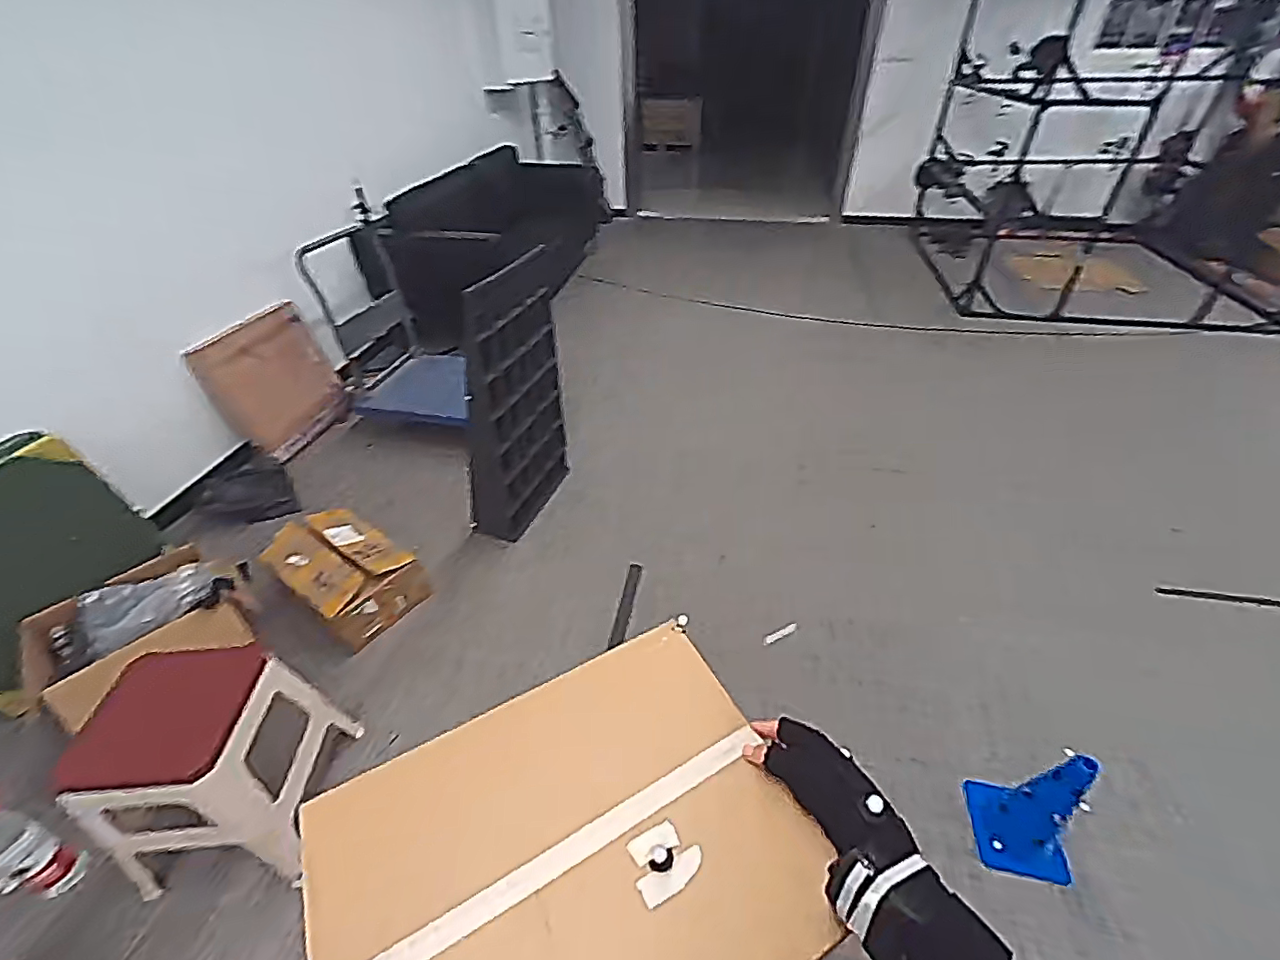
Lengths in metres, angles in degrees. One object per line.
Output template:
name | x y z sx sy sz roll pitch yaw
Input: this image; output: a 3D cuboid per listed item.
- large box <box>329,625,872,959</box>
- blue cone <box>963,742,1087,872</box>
large box | -0.047 0.437 0.573 0.408 0.320 0.320 -20 45 -20
blue cone | 0.913 0.717 1.232 0.193 0.380 0.192 8 39 11
